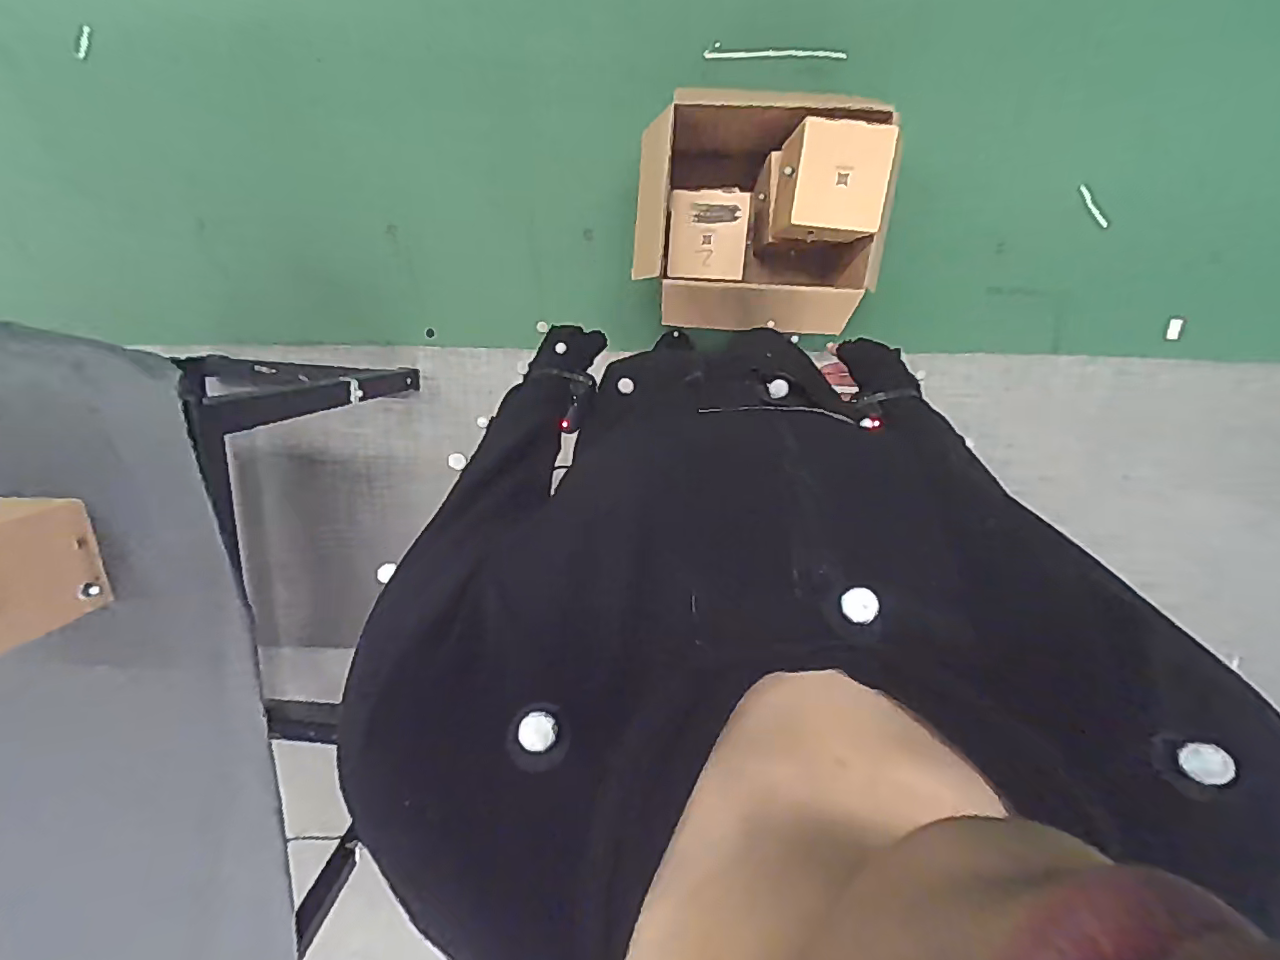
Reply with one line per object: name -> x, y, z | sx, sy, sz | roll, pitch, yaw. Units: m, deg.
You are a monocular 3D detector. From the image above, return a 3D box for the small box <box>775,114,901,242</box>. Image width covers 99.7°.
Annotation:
small box -> 0.365, -0.563, 1.033 | 0.168, 0.176, 0.179 | 6, 106, -1

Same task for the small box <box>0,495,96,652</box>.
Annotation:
small box -> -0.891, 0.121, 0.722 | 0.179, 0.176, 0.168 | 1, 106, 4
